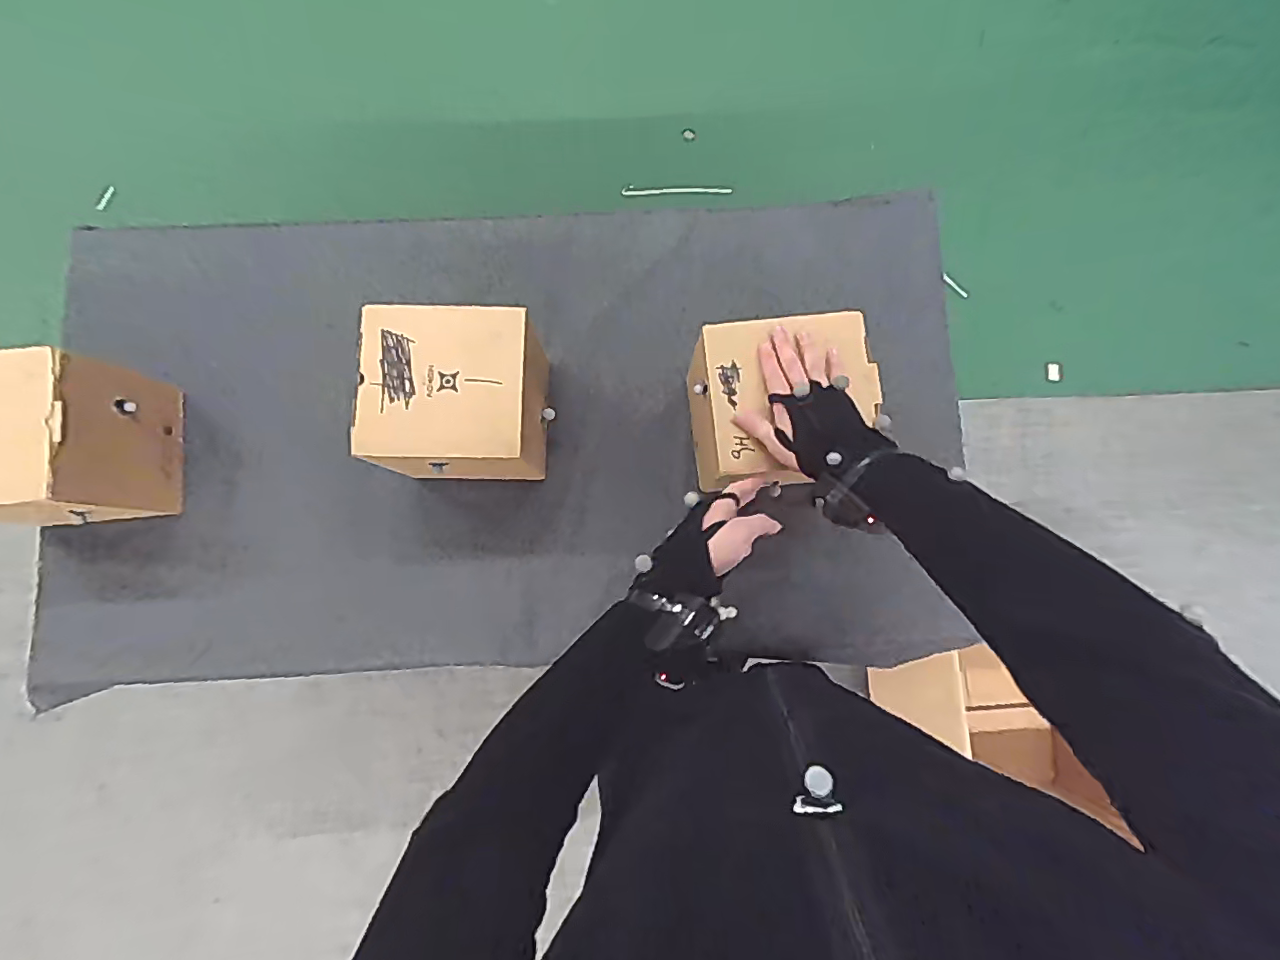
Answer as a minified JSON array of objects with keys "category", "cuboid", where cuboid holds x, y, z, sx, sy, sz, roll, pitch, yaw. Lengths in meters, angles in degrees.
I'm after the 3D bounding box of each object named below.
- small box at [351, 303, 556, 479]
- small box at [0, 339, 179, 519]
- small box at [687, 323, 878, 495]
[{"category":"small box","cuboid":[-0.207,-0.094,0.645,0.179,0.176,0.168,4,84,1]},{"category":"small box","cuboid":[-0.680,-0.047,0.621,0.179,0.176,0.168,-6,82,-1]},{"category":"small box","cuboid":[0.161,-0.076,0.667,0.179,0.176,0.168,-8,84,-1]}]
